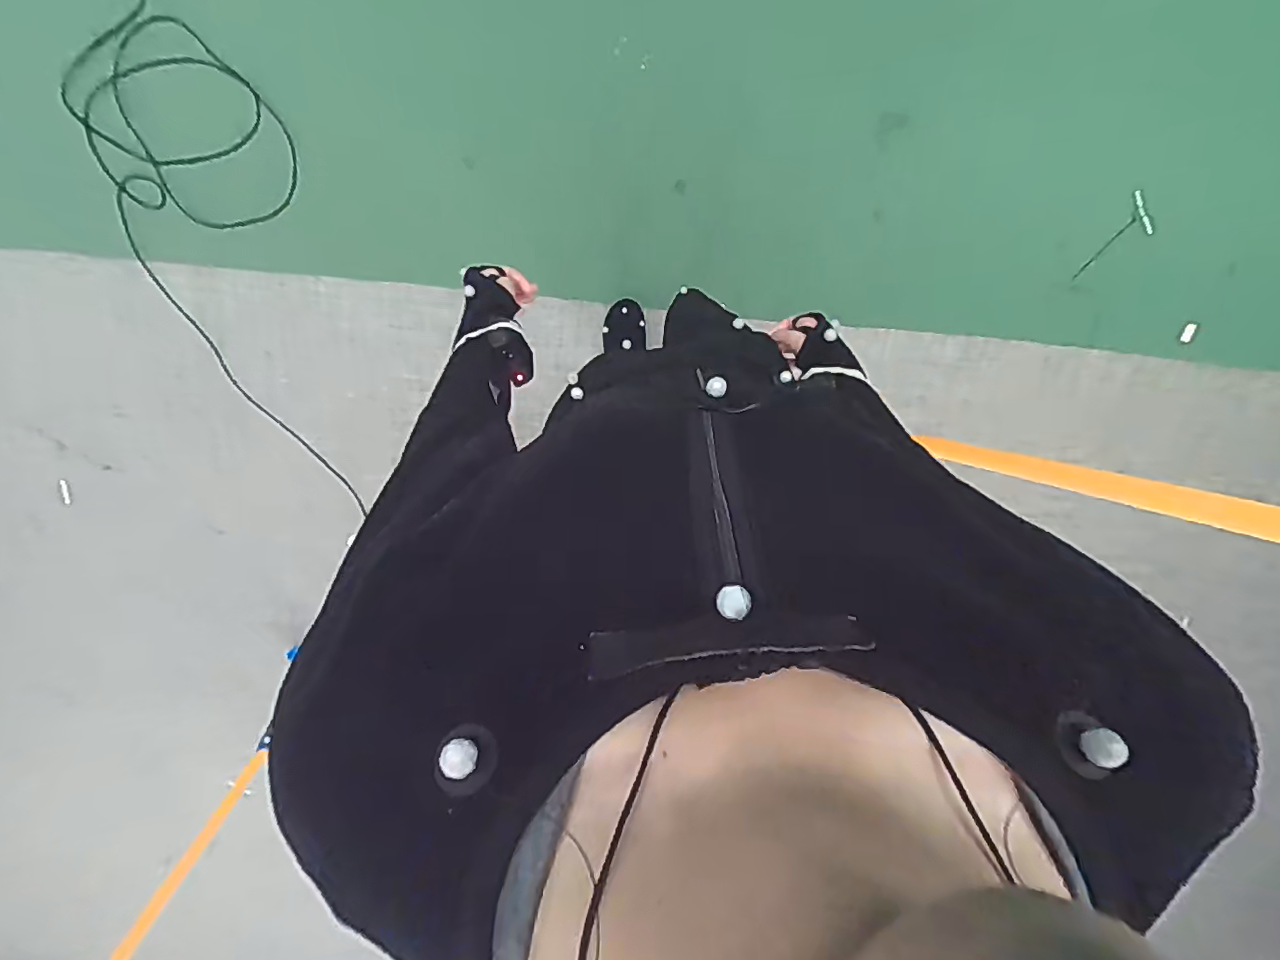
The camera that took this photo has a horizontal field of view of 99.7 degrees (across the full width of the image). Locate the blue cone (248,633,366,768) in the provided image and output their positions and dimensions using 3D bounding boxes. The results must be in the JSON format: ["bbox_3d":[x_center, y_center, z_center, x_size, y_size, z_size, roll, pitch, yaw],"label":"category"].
[{"bbox_3d":[-0.952,0.634,1.508,0.193,0.380,0.192,-38,109,12],"label":"blue cone"}]
